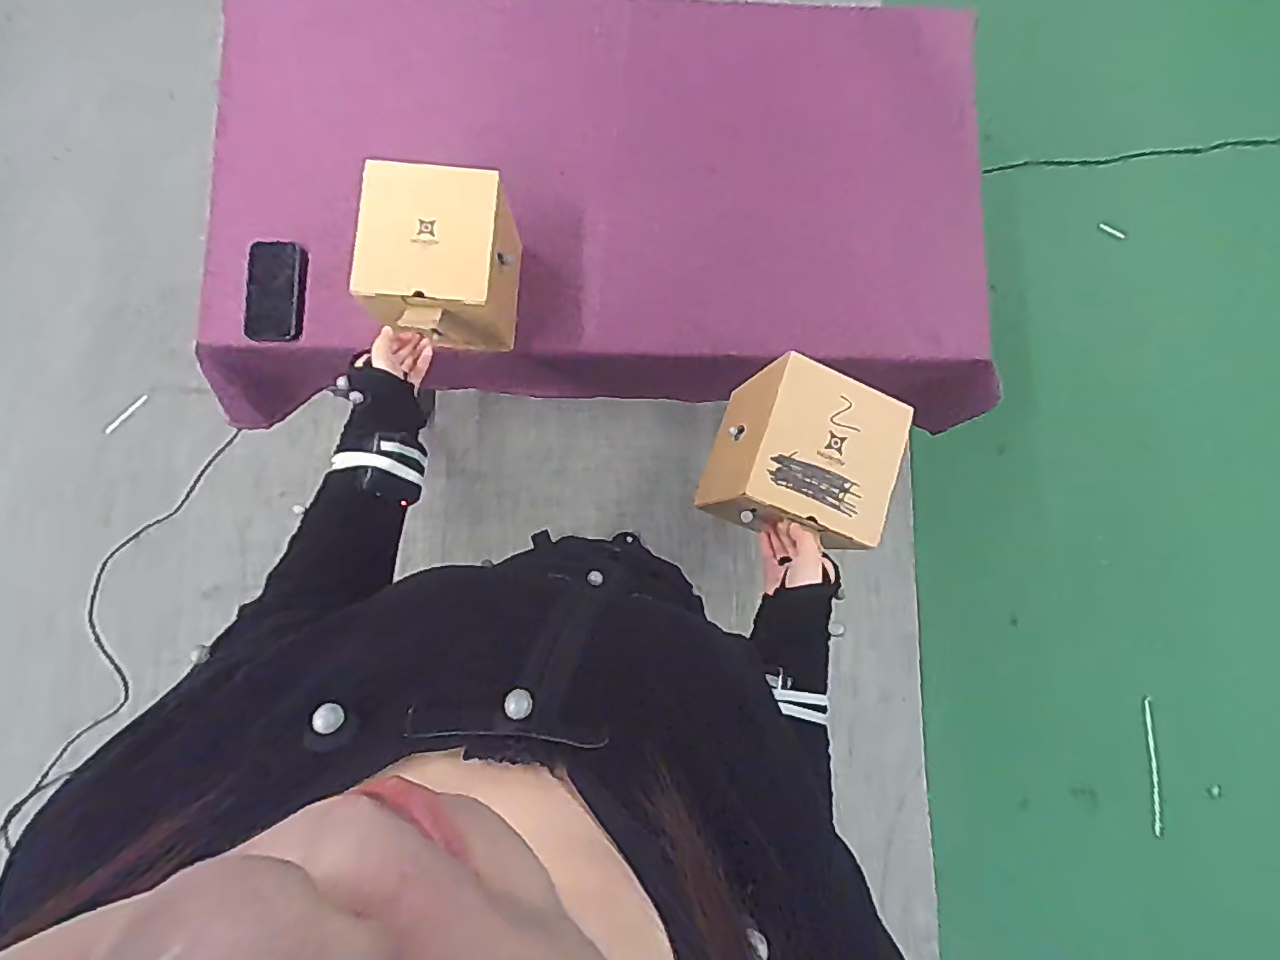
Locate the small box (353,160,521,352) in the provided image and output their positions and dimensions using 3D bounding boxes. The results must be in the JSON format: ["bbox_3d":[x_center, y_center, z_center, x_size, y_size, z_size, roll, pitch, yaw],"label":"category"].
[{"bbox_3d":[-0.262,-0.293,0.740,0.168,0.176,0.179,5,84,-3],"label":"small box"}]
